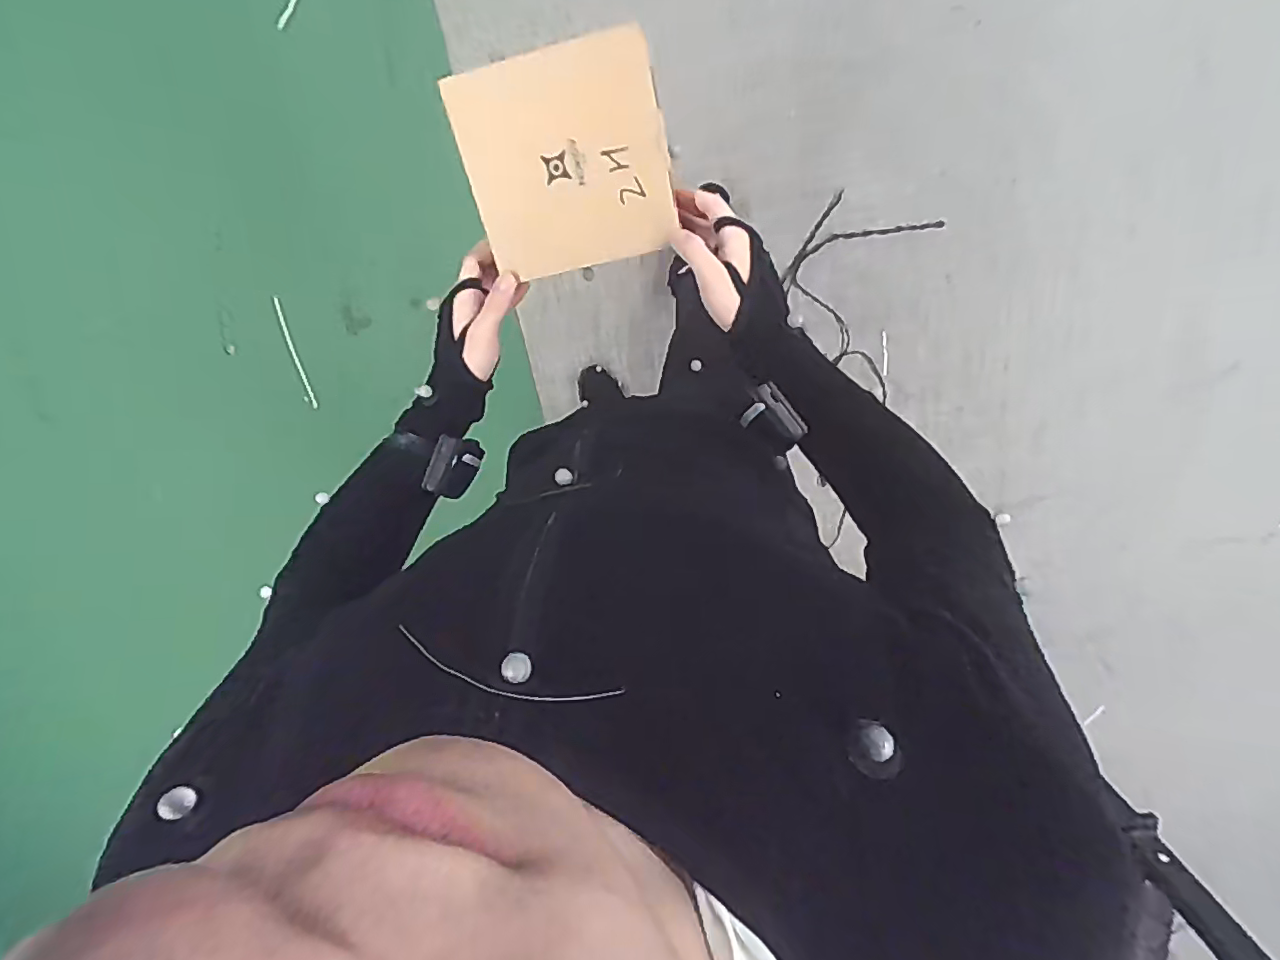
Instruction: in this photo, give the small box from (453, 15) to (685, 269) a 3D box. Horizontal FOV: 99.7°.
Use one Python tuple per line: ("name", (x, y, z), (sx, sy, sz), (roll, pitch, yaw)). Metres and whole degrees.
("small box", (-0.053, -0.318, 0.540), (0.179, 0.176, 0.168), (-9, 116, 7))
